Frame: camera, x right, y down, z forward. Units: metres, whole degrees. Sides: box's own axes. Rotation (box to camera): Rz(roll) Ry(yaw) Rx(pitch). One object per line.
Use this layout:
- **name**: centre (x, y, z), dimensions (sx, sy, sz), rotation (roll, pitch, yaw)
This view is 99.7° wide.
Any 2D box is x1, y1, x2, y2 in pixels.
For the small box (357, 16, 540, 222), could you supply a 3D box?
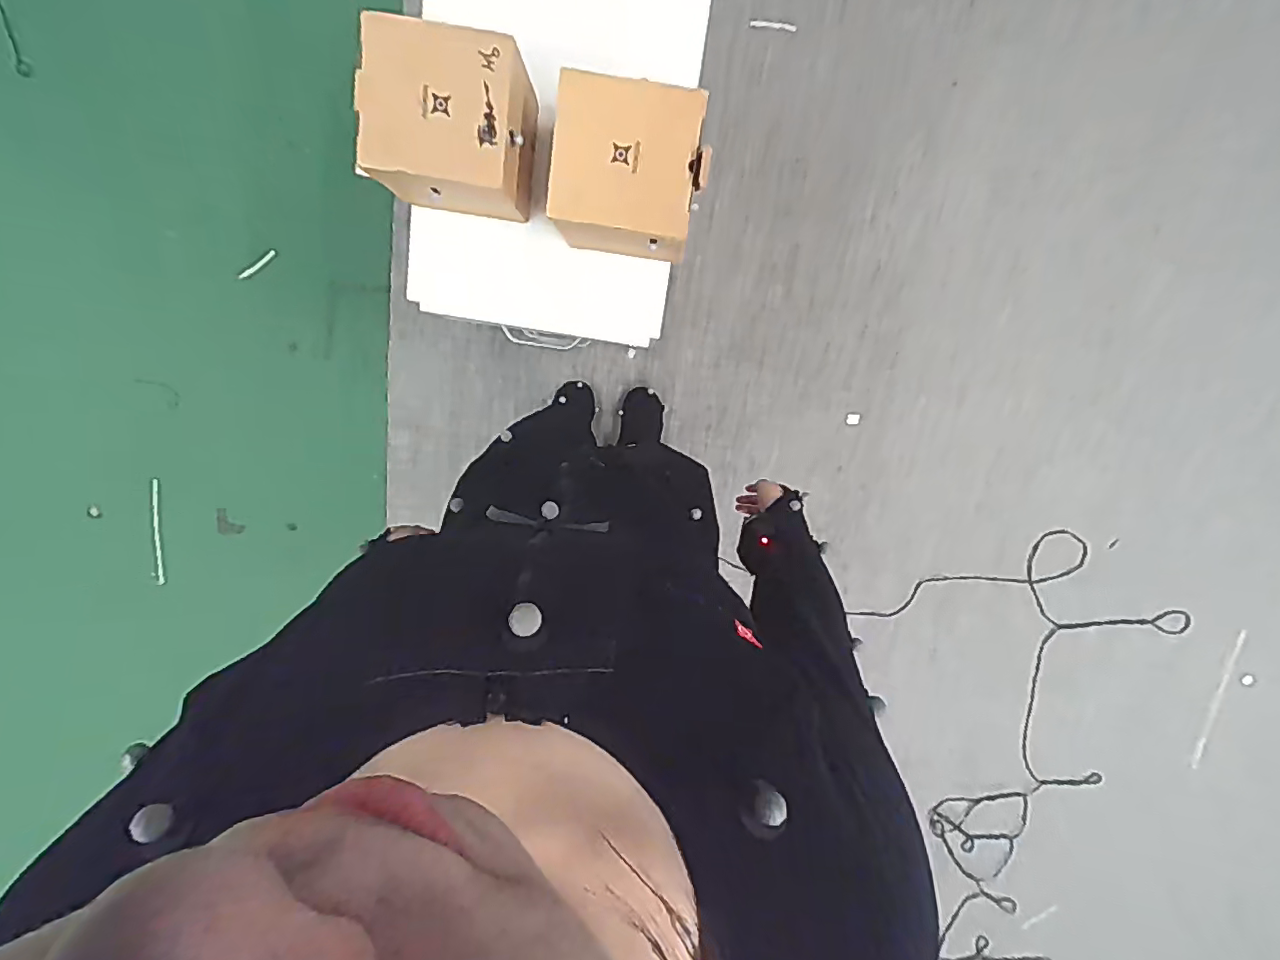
- **small box**: centre (-0.240, -0.453, 0.709), dimensions (0.179, 0.176, 0.168), rotation (8, 103, -2)
